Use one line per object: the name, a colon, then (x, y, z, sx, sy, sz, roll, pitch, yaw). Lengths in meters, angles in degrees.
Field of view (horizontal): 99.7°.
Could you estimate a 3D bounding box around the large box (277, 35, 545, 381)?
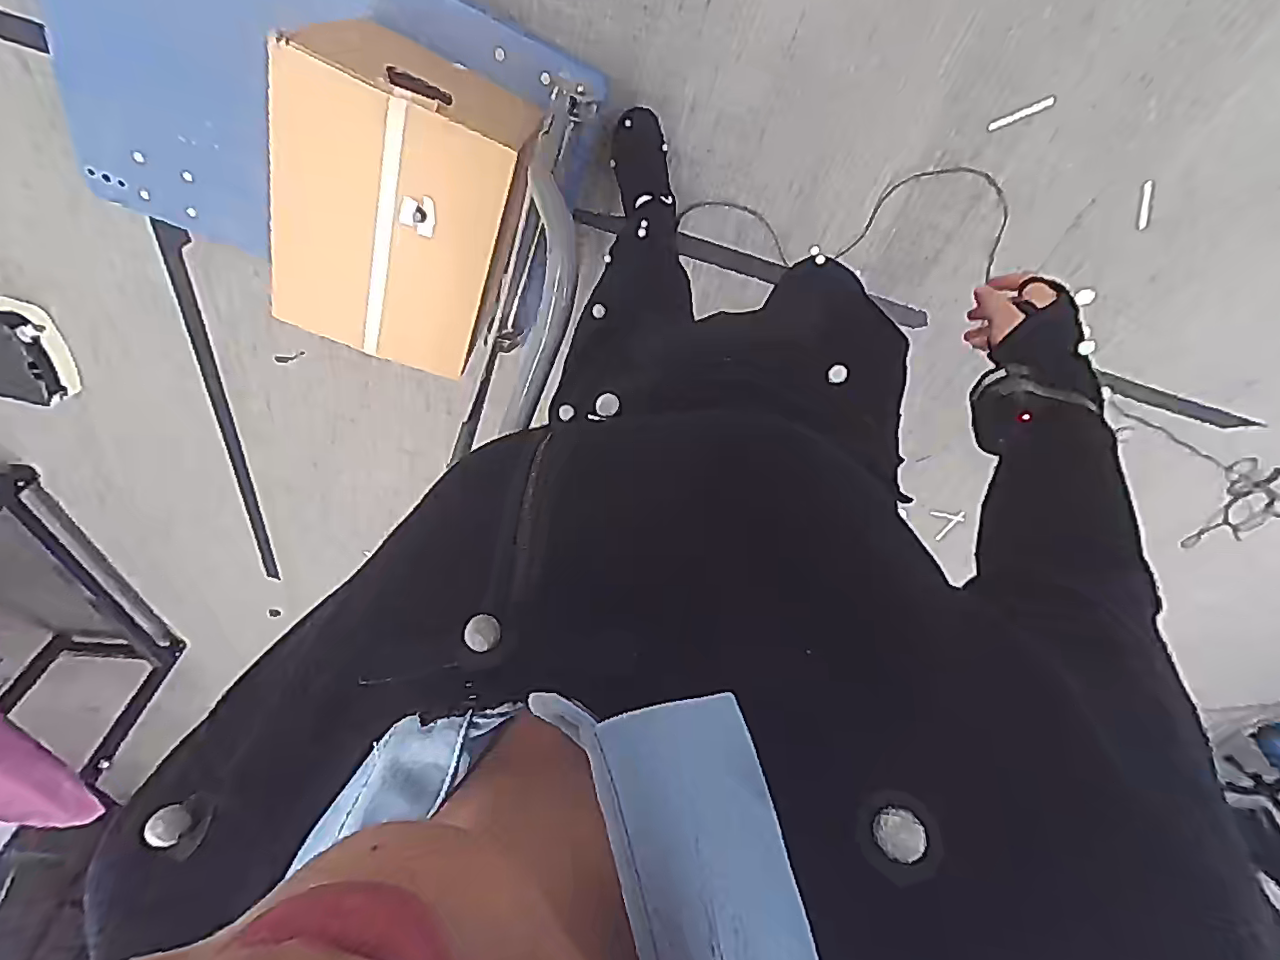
large box: (-0.384, -0.456, 0.936, 0.320, 0.320, 0.408, 18, 129, -16)
